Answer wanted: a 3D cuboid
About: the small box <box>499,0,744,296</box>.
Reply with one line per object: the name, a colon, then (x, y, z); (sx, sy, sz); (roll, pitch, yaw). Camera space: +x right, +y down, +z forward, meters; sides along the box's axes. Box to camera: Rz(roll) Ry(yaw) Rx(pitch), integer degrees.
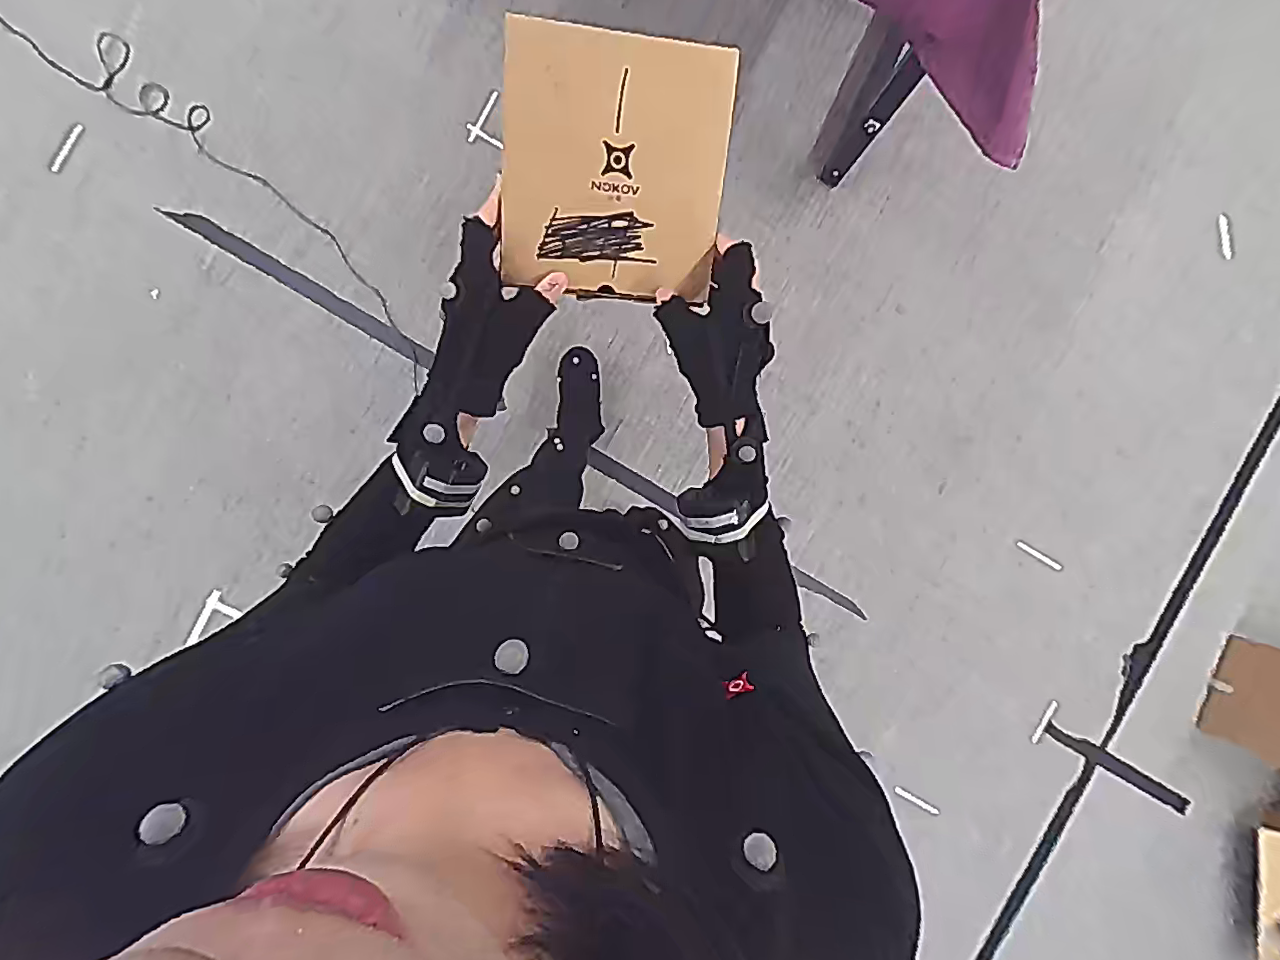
small box: (-0.023, -0.261, 0.472); (0.168, 0.176, 0.179); (5, 107, -7)
